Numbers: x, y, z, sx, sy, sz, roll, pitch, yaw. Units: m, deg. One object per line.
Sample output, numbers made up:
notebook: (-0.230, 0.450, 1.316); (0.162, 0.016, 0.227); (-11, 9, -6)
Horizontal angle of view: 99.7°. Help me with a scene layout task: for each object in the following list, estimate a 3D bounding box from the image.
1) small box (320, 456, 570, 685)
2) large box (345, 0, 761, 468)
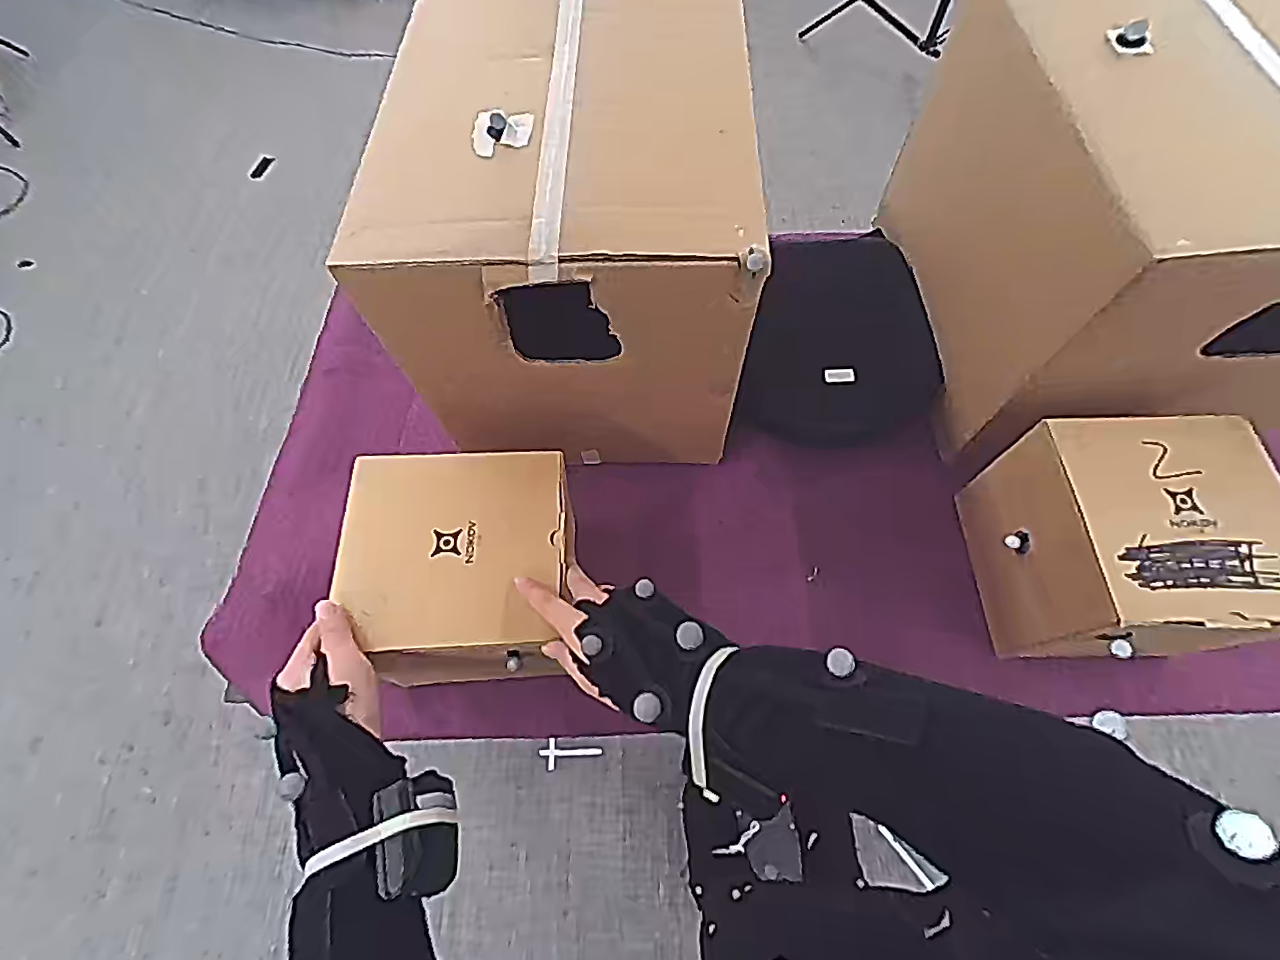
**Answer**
small box: (-0.160, 0.092, 0.509); (0.179, 0.176, 0.168); (-3, 63, -6)
large box: (-0.062, -0.255, 0.603); (0.320, 0.320, 0.408); (-1, 67, 3)
